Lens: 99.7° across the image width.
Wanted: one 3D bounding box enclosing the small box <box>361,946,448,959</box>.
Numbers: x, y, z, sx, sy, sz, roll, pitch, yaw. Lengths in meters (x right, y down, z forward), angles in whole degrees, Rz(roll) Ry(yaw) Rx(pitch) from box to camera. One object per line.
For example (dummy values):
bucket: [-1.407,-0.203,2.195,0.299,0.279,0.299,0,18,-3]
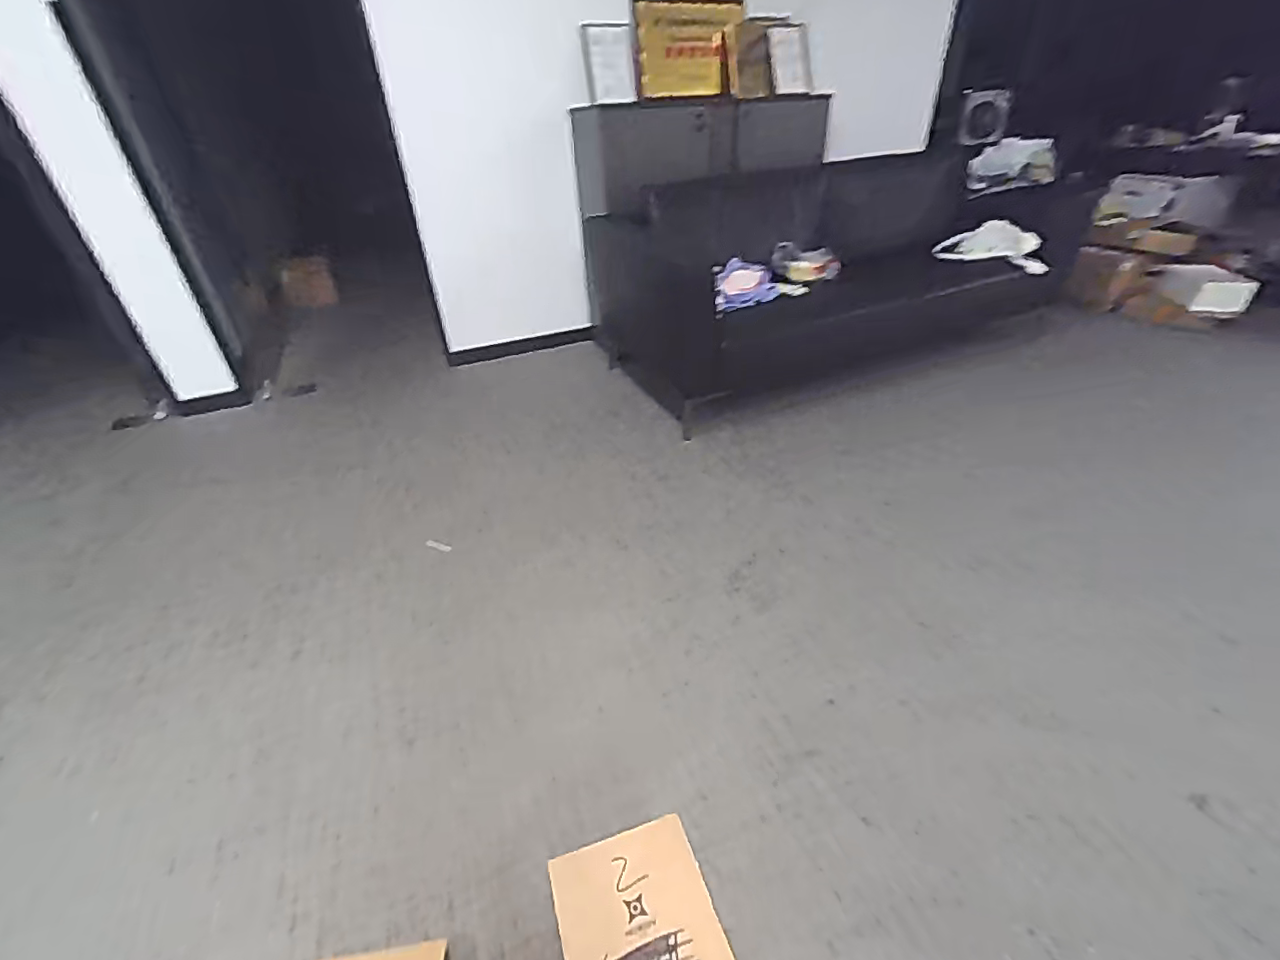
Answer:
small box: [-0.292,0.643,0.553,0.168,0.176,0.179,-5,12,-6]
